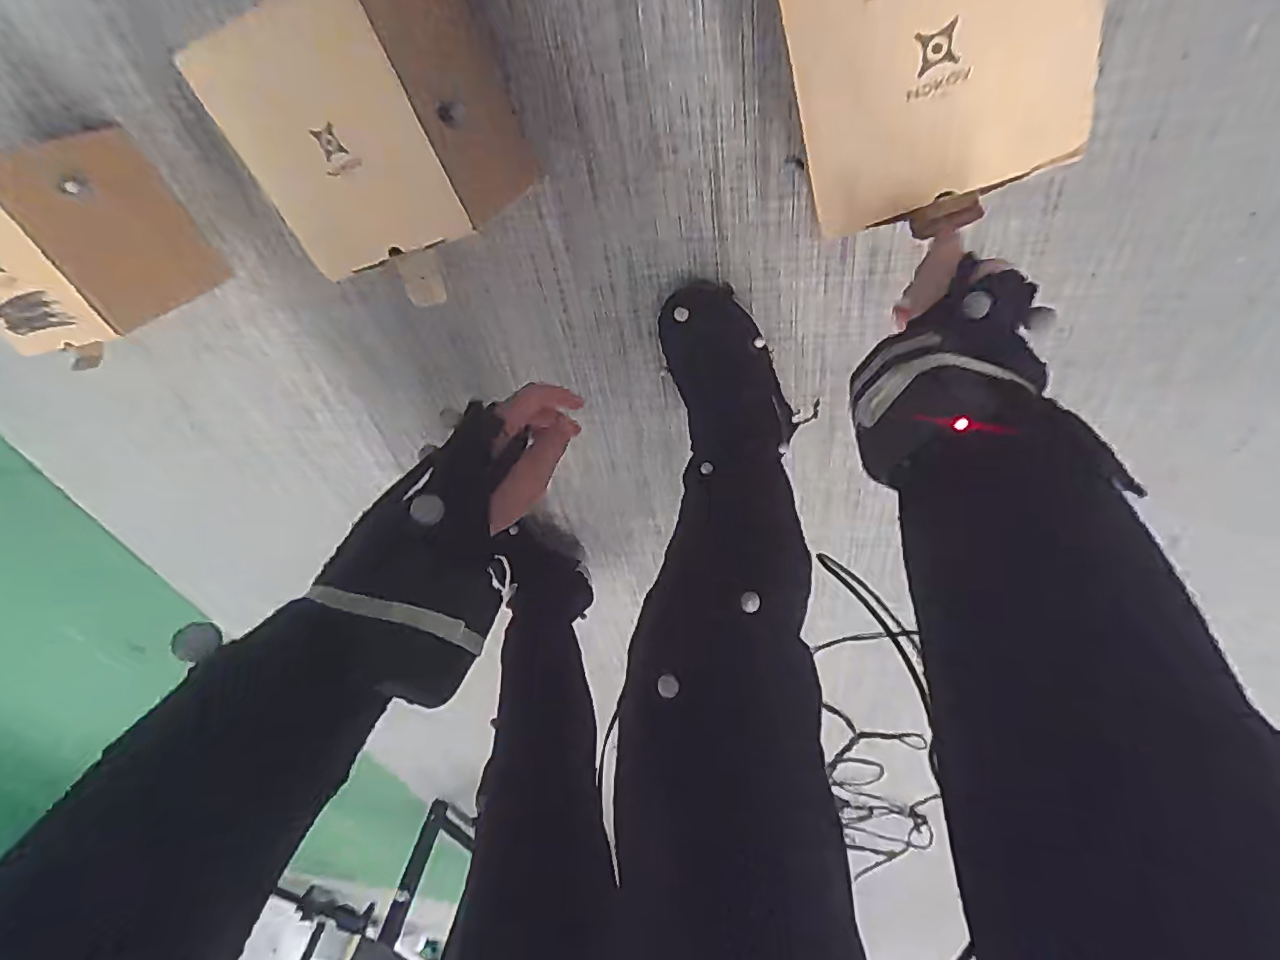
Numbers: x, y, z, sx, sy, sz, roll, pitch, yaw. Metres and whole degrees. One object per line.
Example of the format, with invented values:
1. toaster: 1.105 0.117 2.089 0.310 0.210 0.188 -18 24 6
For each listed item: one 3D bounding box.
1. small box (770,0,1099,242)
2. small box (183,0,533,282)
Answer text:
1. small box: 0.190 -0.306 0.385 0.168 0.176 0.179 -12 127 21
2. small box: -0.220 -0.308 0.477 0.168 0.176 0.179 -8 130 20
